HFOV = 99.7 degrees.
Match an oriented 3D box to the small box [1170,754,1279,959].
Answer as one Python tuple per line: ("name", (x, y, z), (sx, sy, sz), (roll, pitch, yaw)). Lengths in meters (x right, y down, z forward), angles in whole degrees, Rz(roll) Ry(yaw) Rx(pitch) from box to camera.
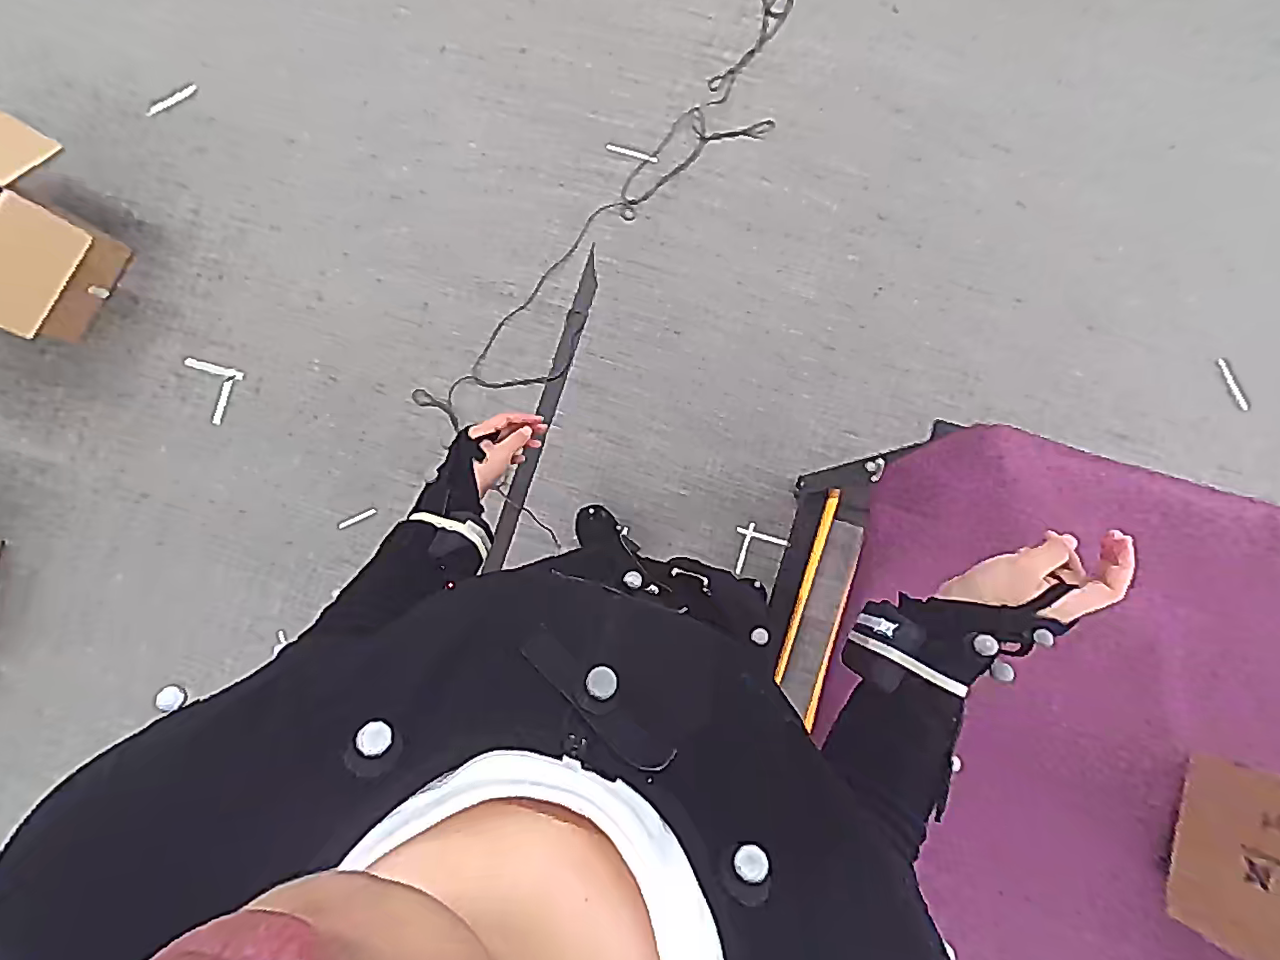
("small box", (0.670, 0.399, 0.506), (0.176, 0.168, 0.179), (21, 81, 3))
